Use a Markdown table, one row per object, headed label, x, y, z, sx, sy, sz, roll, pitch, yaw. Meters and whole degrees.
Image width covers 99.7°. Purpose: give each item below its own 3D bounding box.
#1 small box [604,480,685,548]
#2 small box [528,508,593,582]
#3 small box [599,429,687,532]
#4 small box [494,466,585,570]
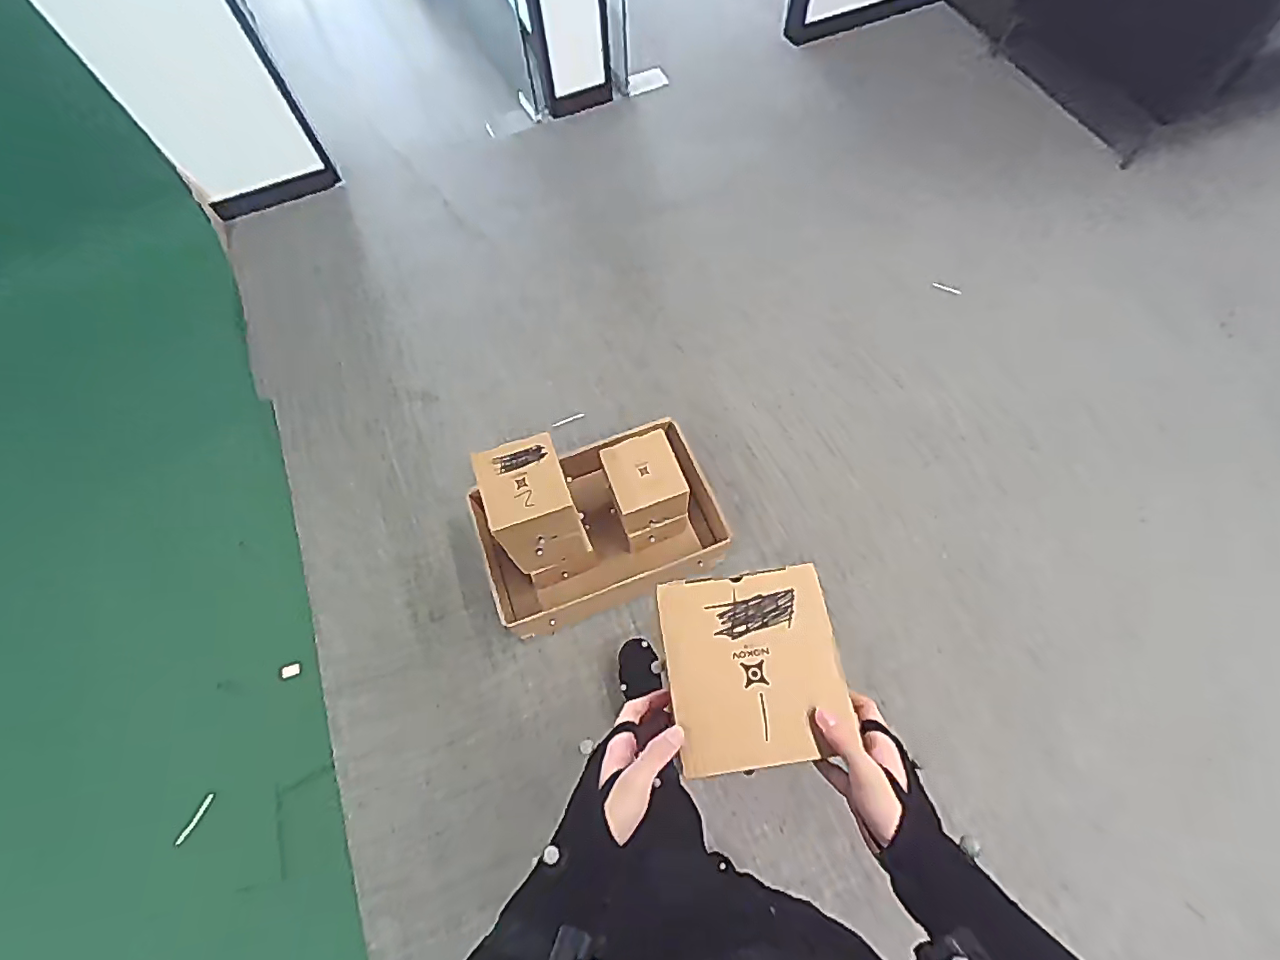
| label | x | y | z | sx | sy | sz | roll | pitch | yaw |
| --- | --- | --- | --- | --- | --- | --- | --- | --- | --- |
| small box | 0.013 | 0.073 | 1.486 | 0.168 | 0.176 | 0.179 | -21 | 68 | -8 |
| small box | -0.231 | 0.162 | 1.449 | 0.168 | 0.176 | 0.179 | -21 | 68 | -10 |
| small box | 0.007 | 0.006 | 1.338 | 0.168 | 0.176 | 0.179 | -20 | 68 | -5 |
| small box | -0.236 | 0.096 | 1.299 | 0.168 | 0.176 | 0.179 | -17 | 67 | -6 |
